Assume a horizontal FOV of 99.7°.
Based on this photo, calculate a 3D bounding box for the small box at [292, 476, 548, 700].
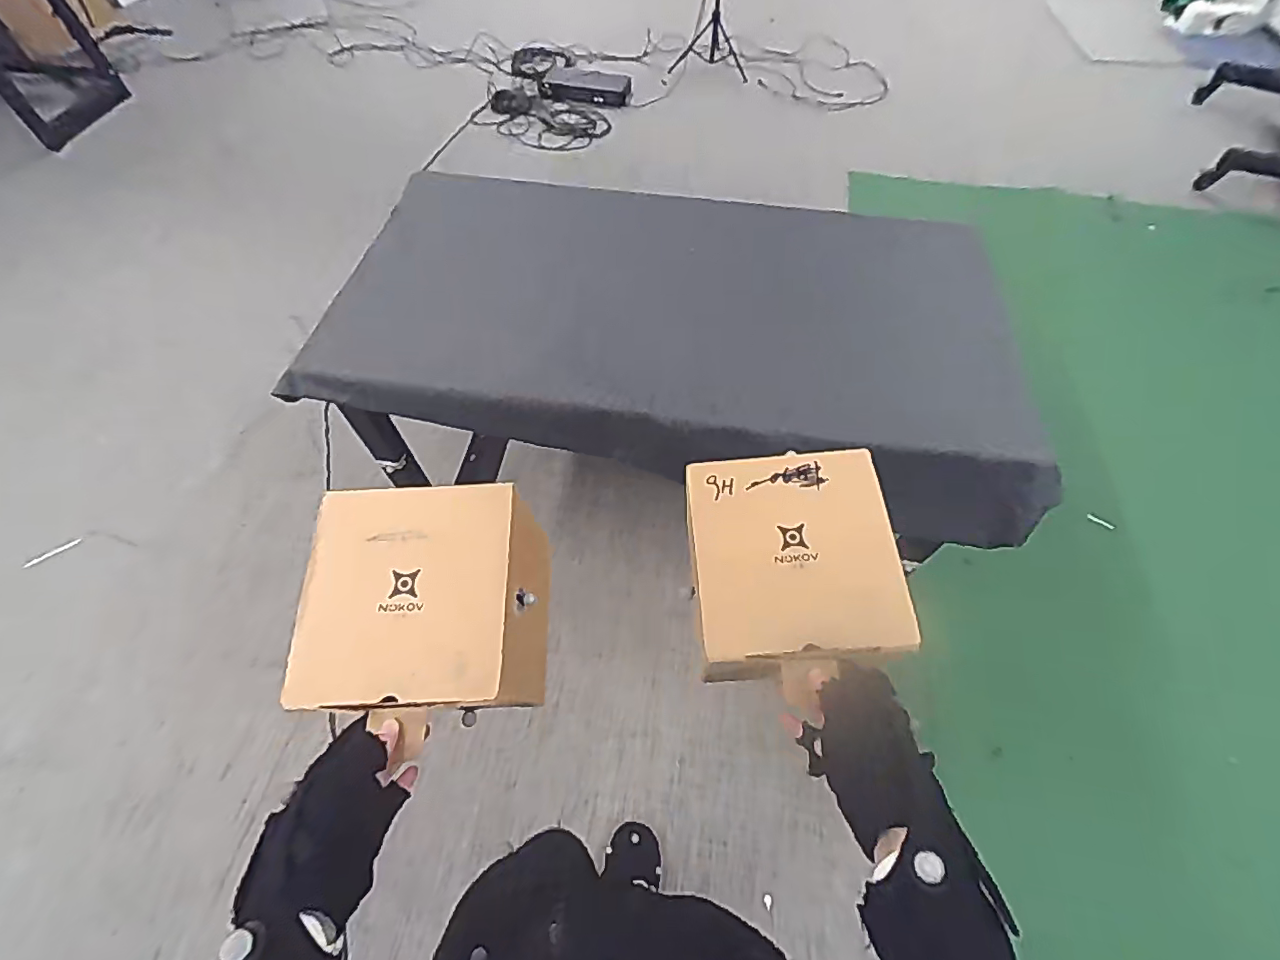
[{"bbox_3d":[-0.183,0.111,0.511,0.168,0.176,0.179,-3,67,0],"label":"small box"}]

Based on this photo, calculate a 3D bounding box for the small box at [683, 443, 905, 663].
[{"bbox_3d":[0.132,0.083,0.535,0.168,0.176,0.179,-4,65,2],"label":"small box"}]
